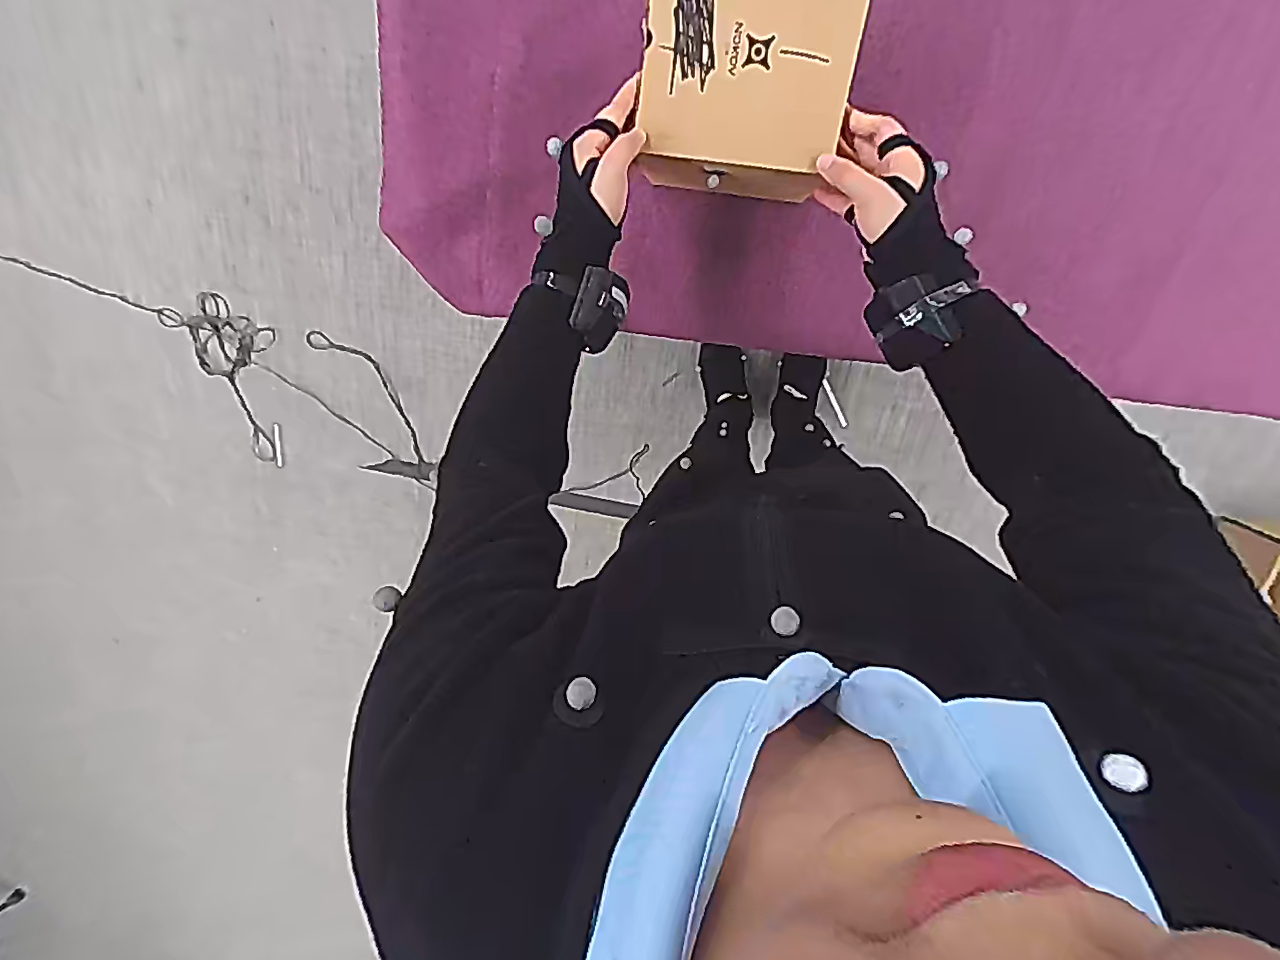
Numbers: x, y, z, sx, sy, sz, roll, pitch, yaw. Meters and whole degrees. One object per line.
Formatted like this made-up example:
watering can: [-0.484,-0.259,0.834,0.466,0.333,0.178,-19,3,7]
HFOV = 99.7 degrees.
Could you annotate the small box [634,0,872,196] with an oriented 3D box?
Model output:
small box: [0.101,-0.378,0.512,0.179,0.176,0.168,9,111,4]
